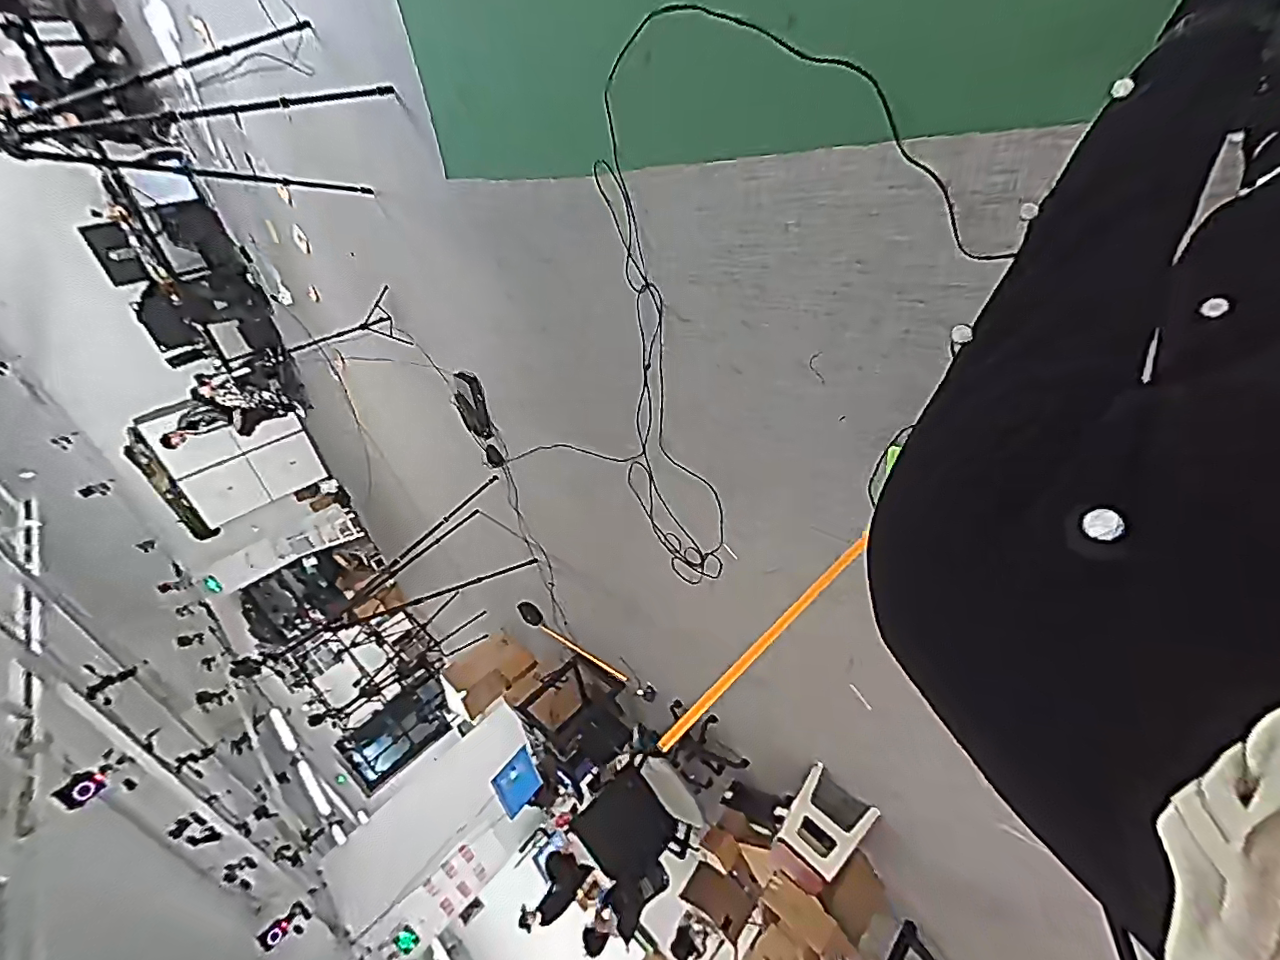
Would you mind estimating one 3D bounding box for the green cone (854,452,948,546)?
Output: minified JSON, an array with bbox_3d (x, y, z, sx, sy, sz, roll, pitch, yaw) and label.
[{"bbox_3d":[0.768,0.090,1.663,0.202,0.368,0.200,20,133,43],"label":"green cone"}]
